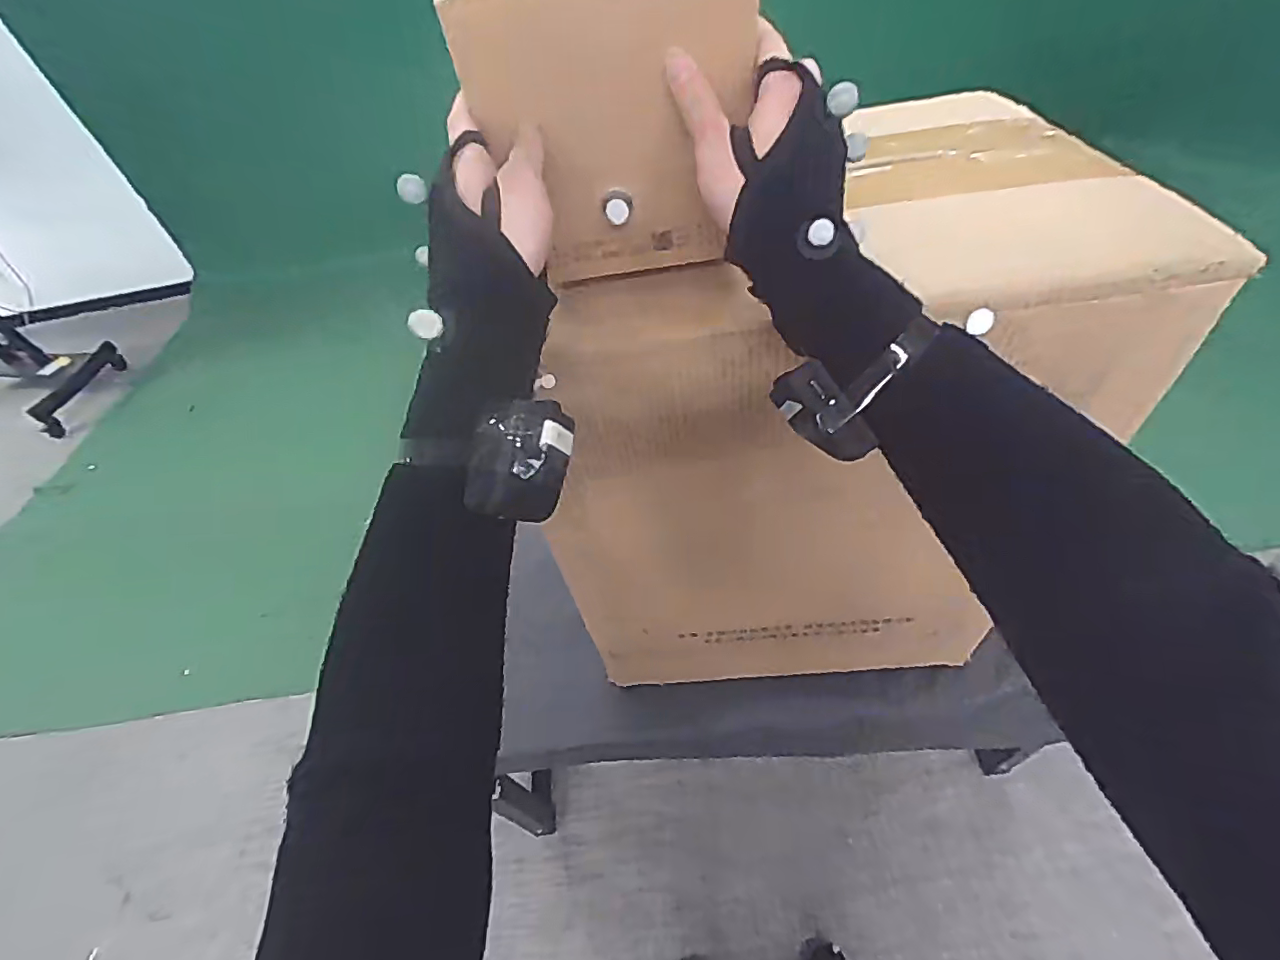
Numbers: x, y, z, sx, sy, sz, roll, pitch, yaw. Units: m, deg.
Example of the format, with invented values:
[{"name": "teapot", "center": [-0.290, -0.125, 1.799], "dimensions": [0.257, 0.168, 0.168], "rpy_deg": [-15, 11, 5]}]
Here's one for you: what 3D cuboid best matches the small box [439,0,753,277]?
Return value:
[{"name": "small box", "center": [-0.019, -0.274, 0.387], "dimensions": [0.168, 0.176, 0.179], "rpy_deg": [-7, 54, 4]}]
